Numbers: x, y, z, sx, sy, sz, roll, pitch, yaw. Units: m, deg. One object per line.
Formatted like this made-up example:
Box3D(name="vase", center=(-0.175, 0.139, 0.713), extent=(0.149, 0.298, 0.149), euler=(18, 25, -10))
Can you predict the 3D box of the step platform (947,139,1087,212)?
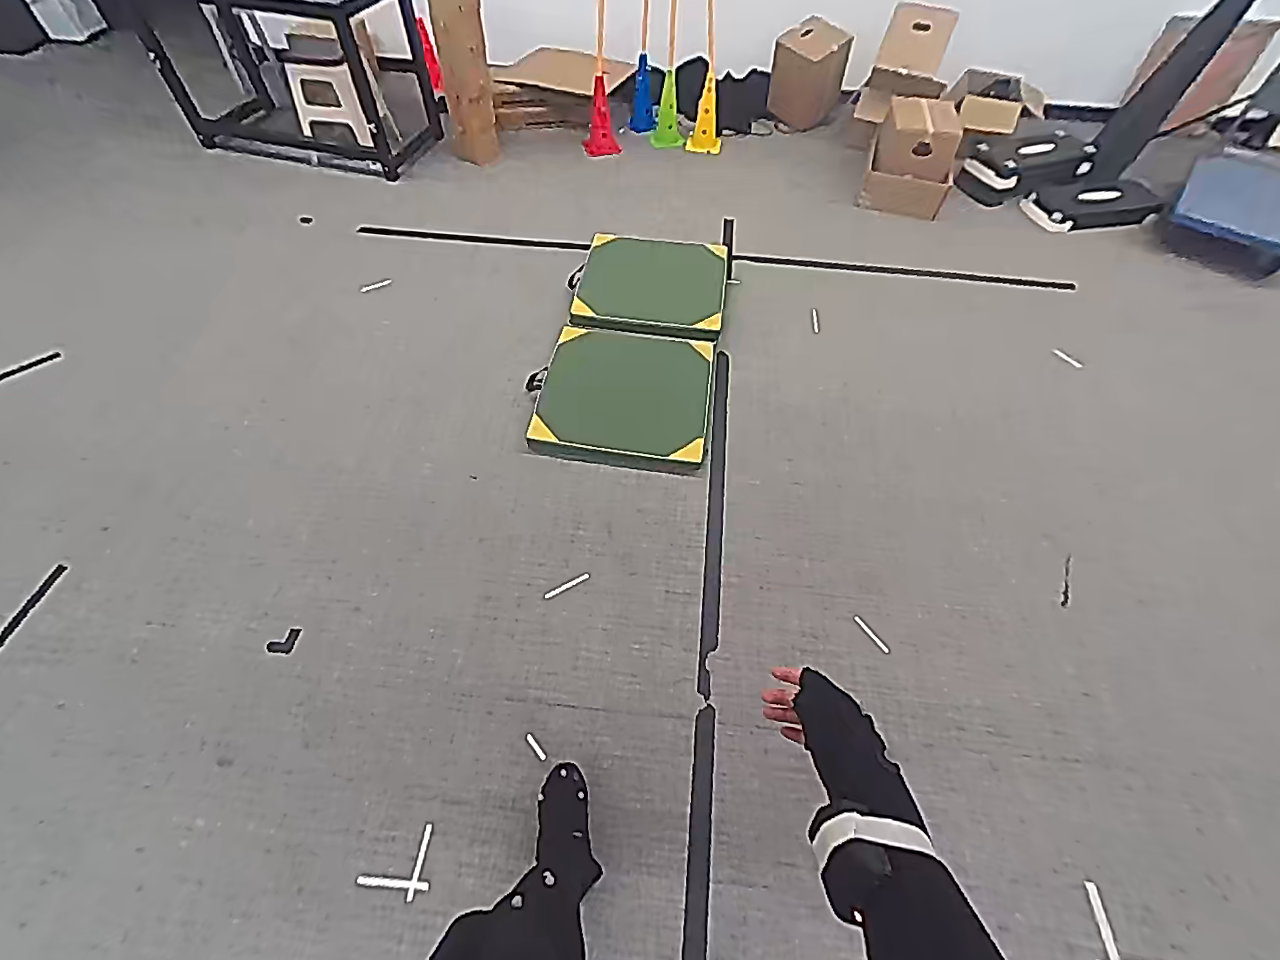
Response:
Box3D(name="step platform", center=(2.068, -1.677, 2.963), extent=(0.684, 0.204, 0.286), euler=(-18, 57, -14))
